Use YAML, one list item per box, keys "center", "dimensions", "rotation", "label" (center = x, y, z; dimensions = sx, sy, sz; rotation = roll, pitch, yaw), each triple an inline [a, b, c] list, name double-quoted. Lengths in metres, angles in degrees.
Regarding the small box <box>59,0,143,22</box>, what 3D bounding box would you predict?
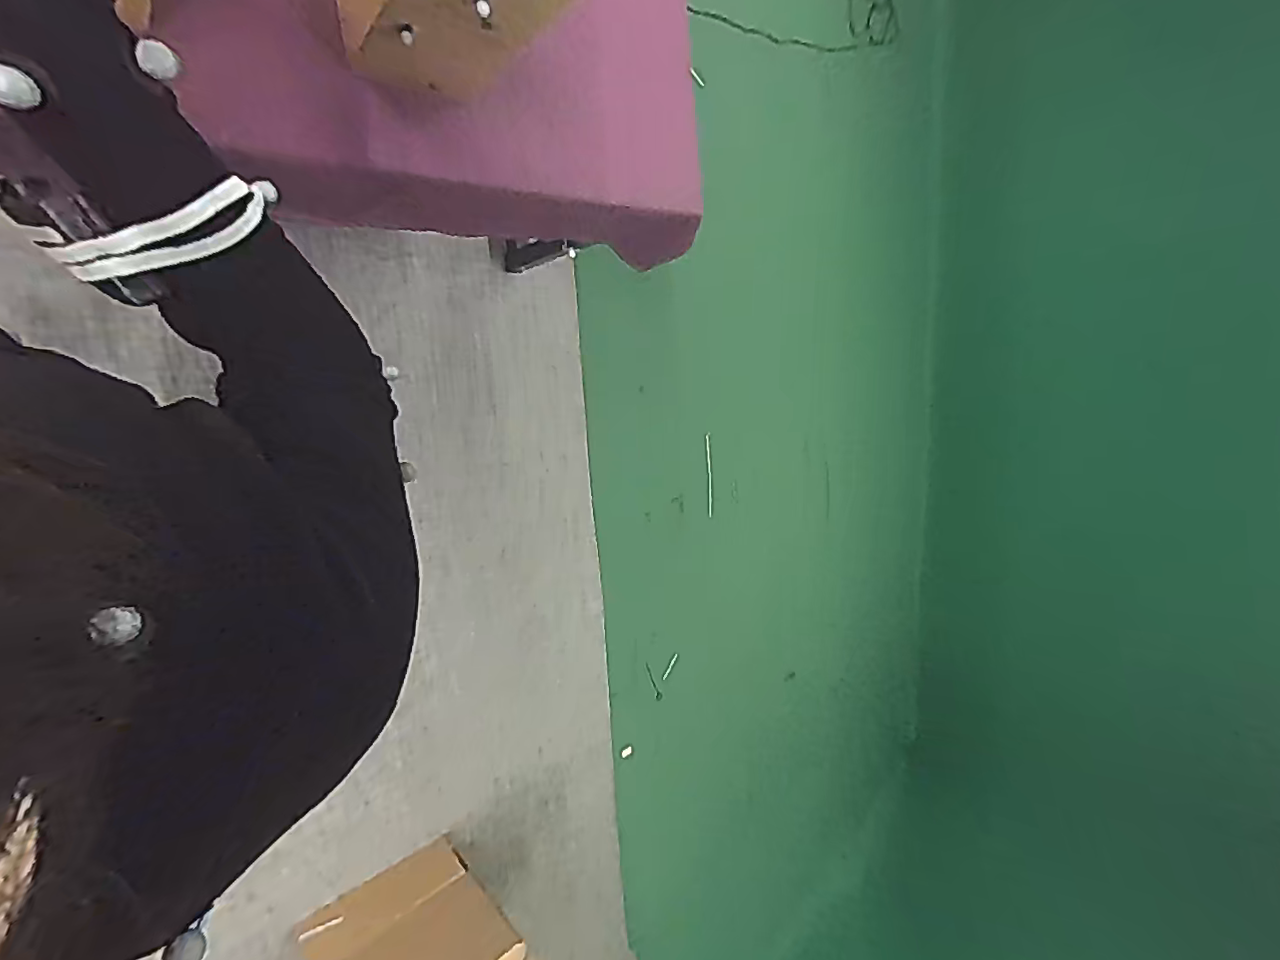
- center: [-0.526, -0.530, 0.437]
  dimensions: [0.168, 0.176, 0.179]
  rotation: [-14, 105, -43]
  label: "small box"
